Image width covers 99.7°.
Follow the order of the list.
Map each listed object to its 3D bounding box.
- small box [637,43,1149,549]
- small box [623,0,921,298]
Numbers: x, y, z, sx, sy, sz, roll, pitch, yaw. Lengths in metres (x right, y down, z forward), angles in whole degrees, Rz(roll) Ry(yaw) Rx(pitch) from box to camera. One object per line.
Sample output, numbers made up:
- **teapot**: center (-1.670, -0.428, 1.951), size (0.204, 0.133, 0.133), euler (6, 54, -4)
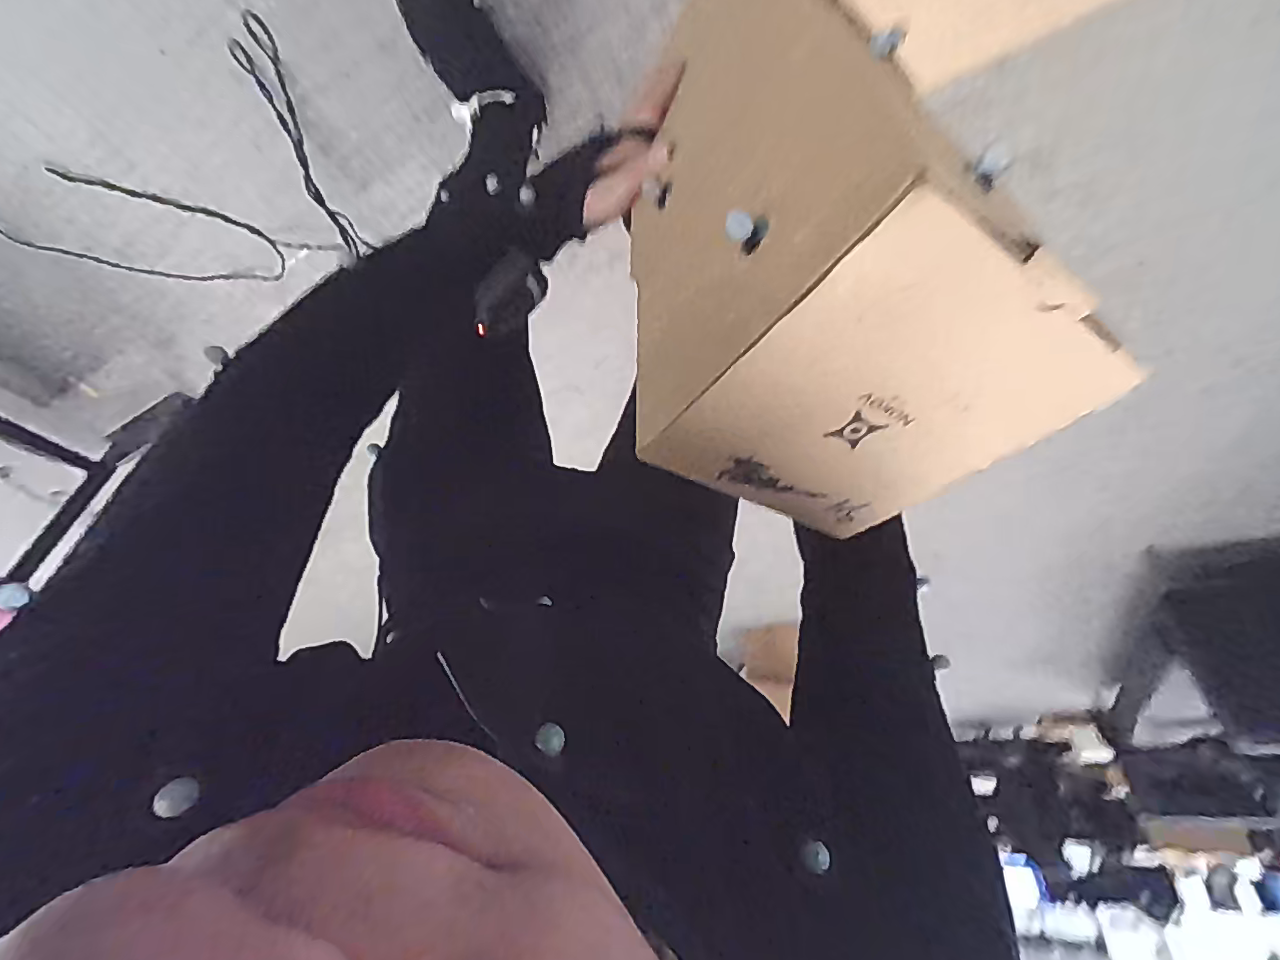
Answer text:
- **small box**: center (0.108, -0.089, 0.304), size (0.168, 0.176, 0.179), euler (21, 139, -25)
- **small box**: center (0.103, -0.218, 0.407), size (0.168, 0.176, 0.179), euler (21, 139, -27)
